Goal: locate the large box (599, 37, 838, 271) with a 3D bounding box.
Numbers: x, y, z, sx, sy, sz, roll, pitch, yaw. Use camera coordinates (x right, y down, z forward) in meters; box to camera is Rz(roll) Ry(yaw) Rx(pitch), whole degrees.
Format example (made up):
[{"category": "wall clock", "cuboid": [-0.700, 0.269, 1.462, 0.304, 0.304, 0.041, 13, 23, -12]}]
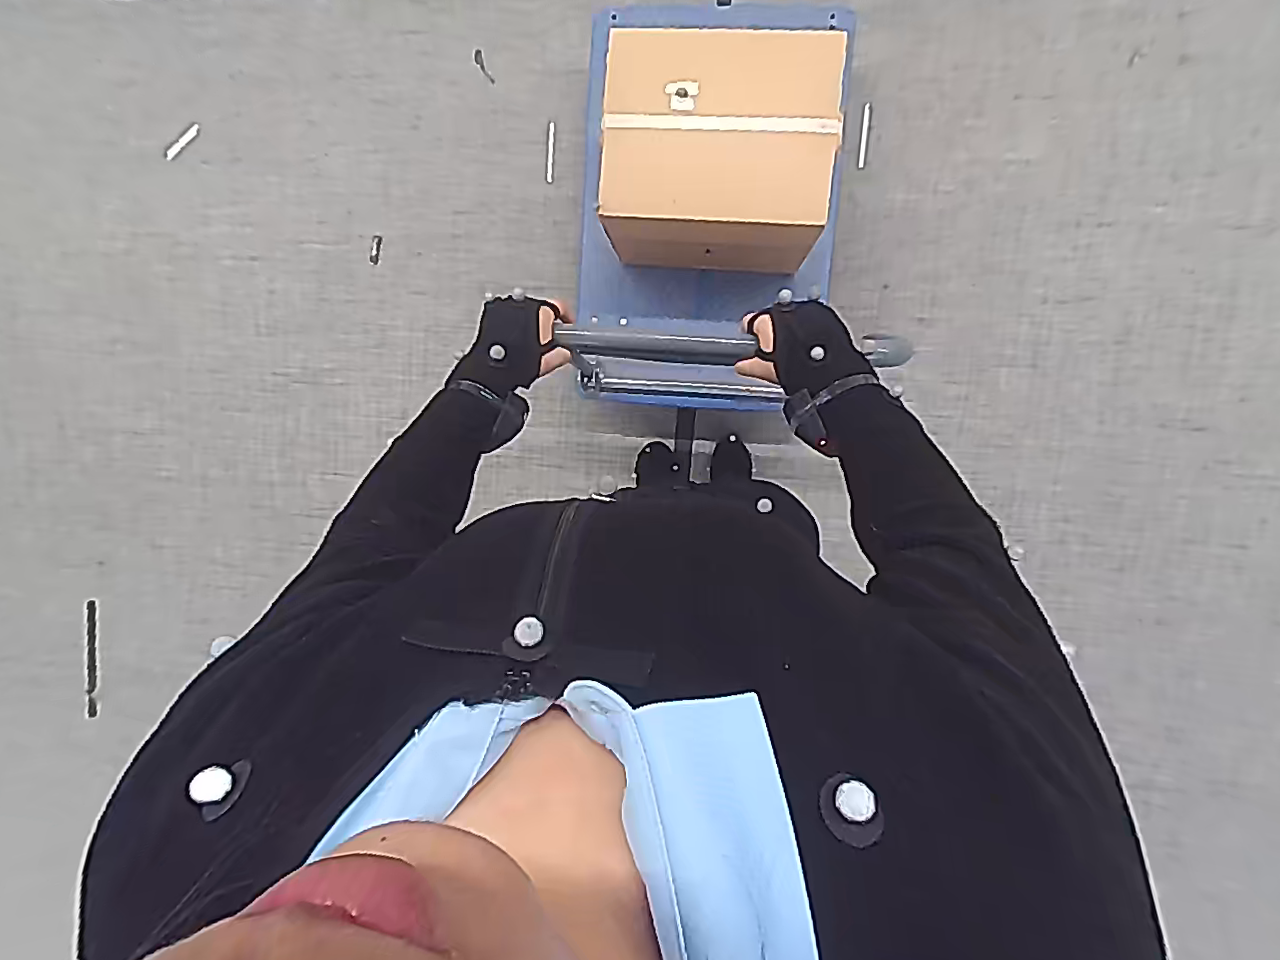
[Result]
[{"category": "large box", "cuboid": [0.150, -0.626, 1.098, 0.408, 0.320, 0.320, 5, 95, 6]}]
